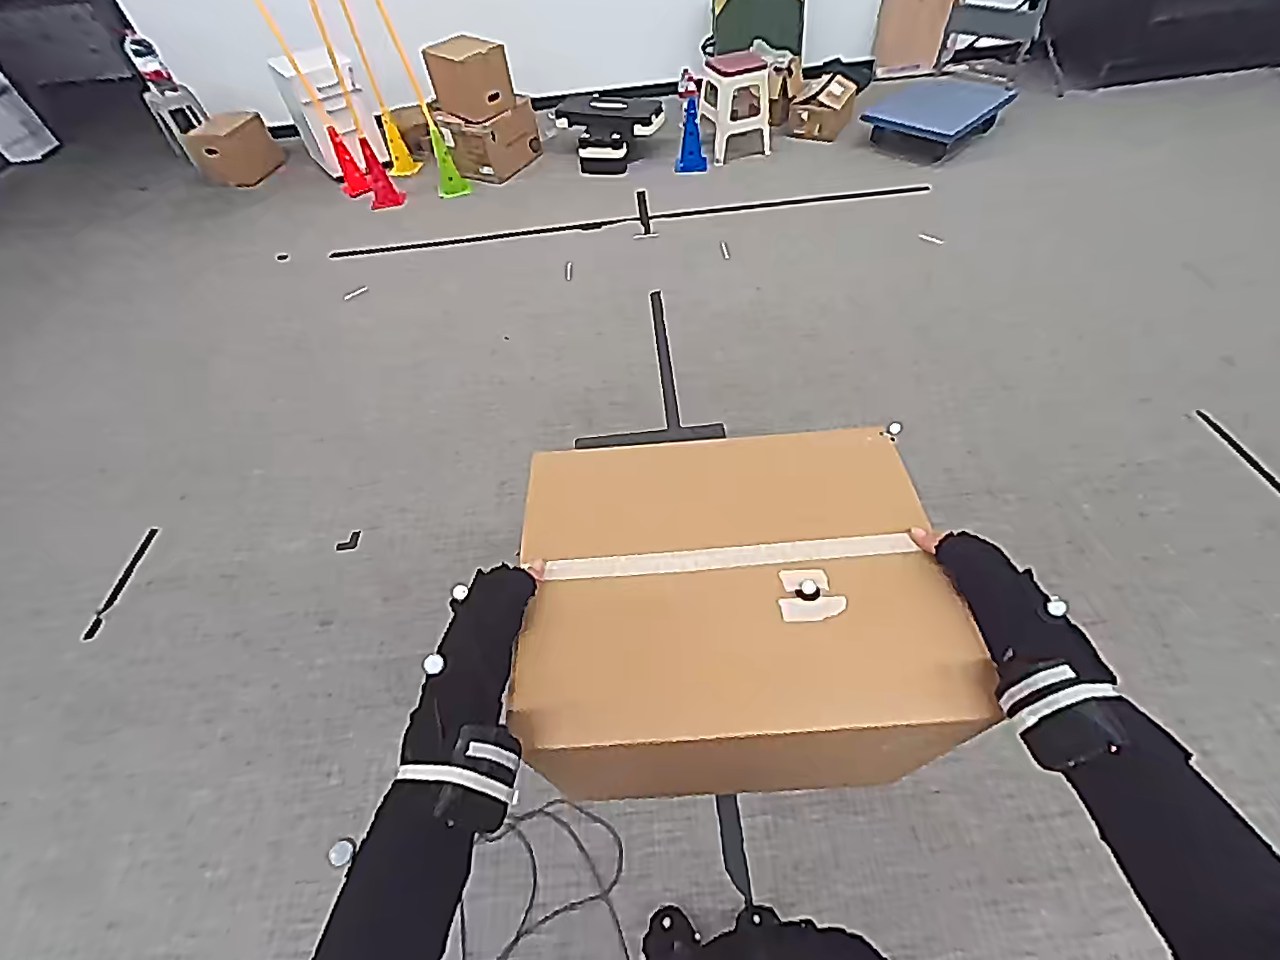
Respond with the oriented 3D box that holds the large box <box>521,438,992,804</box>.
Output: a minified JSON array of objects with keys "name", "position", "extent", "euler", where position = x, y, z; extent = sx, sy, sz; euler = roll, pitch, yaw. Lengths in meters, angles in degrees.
[{"name":"large box","position":[0.095,0.179,0.655],"extent":[0.408,0.320,0.320],"euler":[-5,52,1]}]
